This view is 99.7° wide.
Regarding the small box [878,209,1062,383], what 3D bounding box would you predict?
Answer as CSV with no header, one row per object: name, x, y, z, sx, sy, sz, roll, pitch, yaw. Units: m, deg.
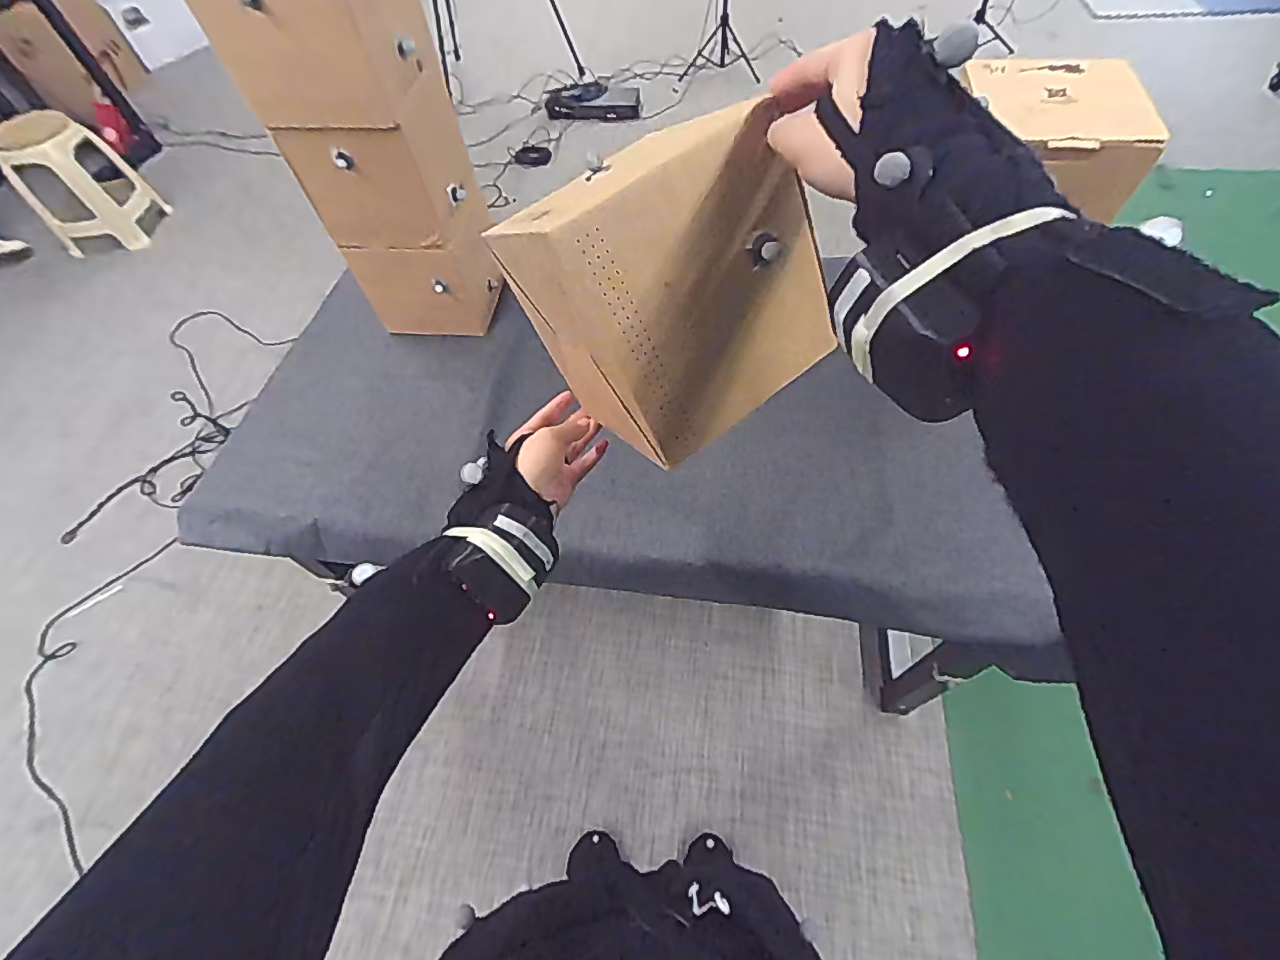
small box,0.450,-0.265,0.772,0.168,0.176,0.179,7,59,9

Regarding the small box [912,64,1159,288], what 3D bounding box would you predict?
small box,0.434,-0.348,0.631,0.168,0.176,0.179,8,60,9

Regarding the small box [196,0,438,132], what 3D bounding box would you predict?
small box,-0.359,-0.520,0.608,0.179,0.176,0.168,4,60,6

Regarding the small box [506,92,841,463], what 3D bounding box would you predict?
small box,0.015,-0.144,0.412,0.176,0.179,0.168,-36,33,-9

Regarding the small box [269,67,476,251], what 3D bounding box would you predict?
small box,-0.352,-0.441,0.752,0.179,0.176,0.168,3,60,4
